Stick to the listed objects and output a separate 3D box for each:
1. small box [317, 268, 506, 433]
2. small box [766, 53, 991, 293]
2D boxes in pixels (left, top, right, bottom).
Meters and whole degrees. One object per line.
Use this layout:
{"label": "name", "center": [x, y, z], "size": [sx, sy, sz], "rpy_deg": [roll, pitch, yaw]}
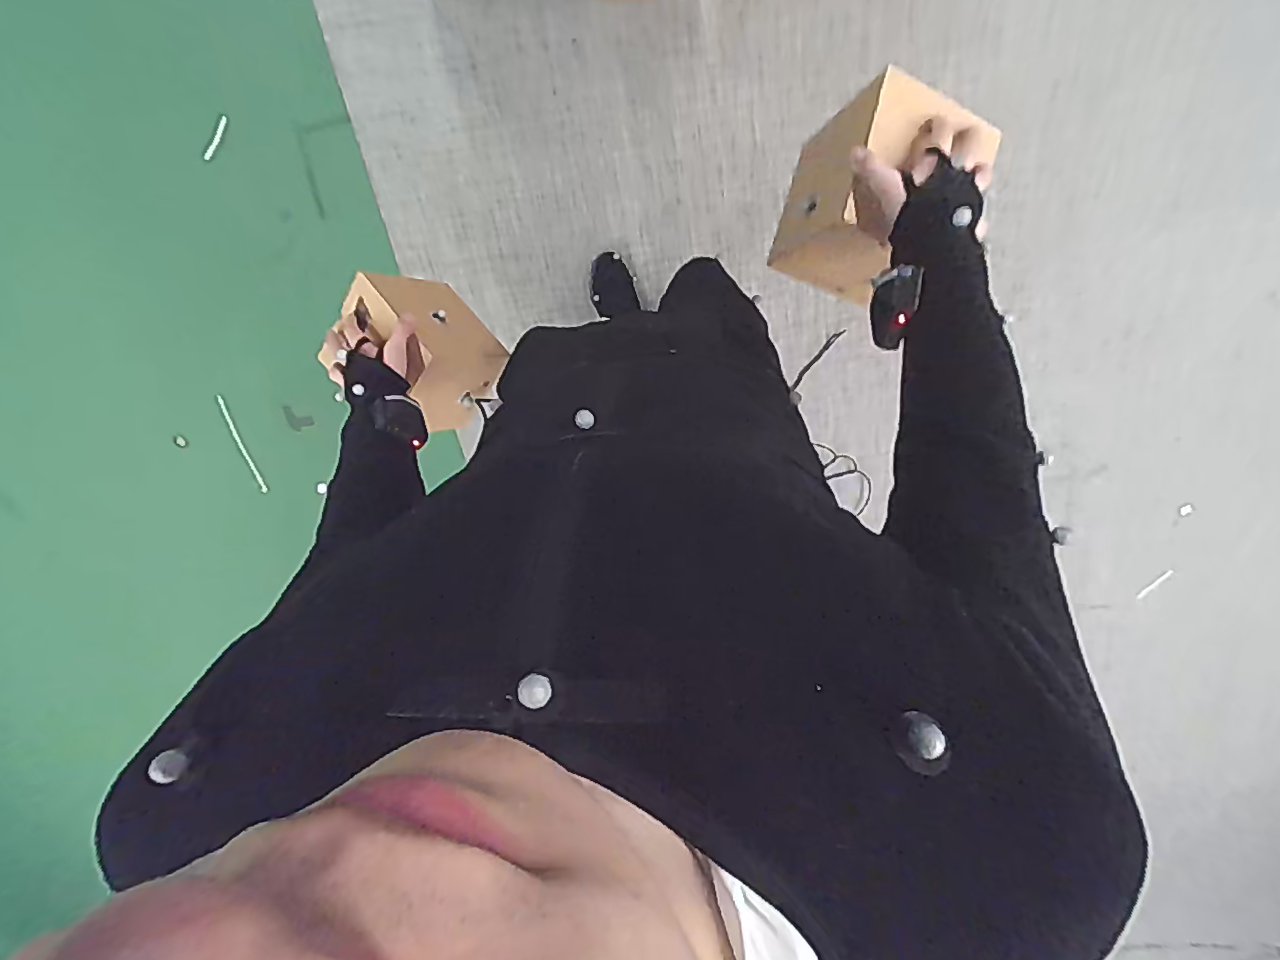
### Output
{"label": "small box", "center": [-0.348, -0.195, 0.840], "size": [0.179, 0.176, 0.168], "rpy_deg": [47, 117, 8]}
{"label": "small box", "center": [0.280, -0.355, 0.670], "size": [0.168, 0.176, 0.179], "rpy_deg": [16, 91, -17]}
